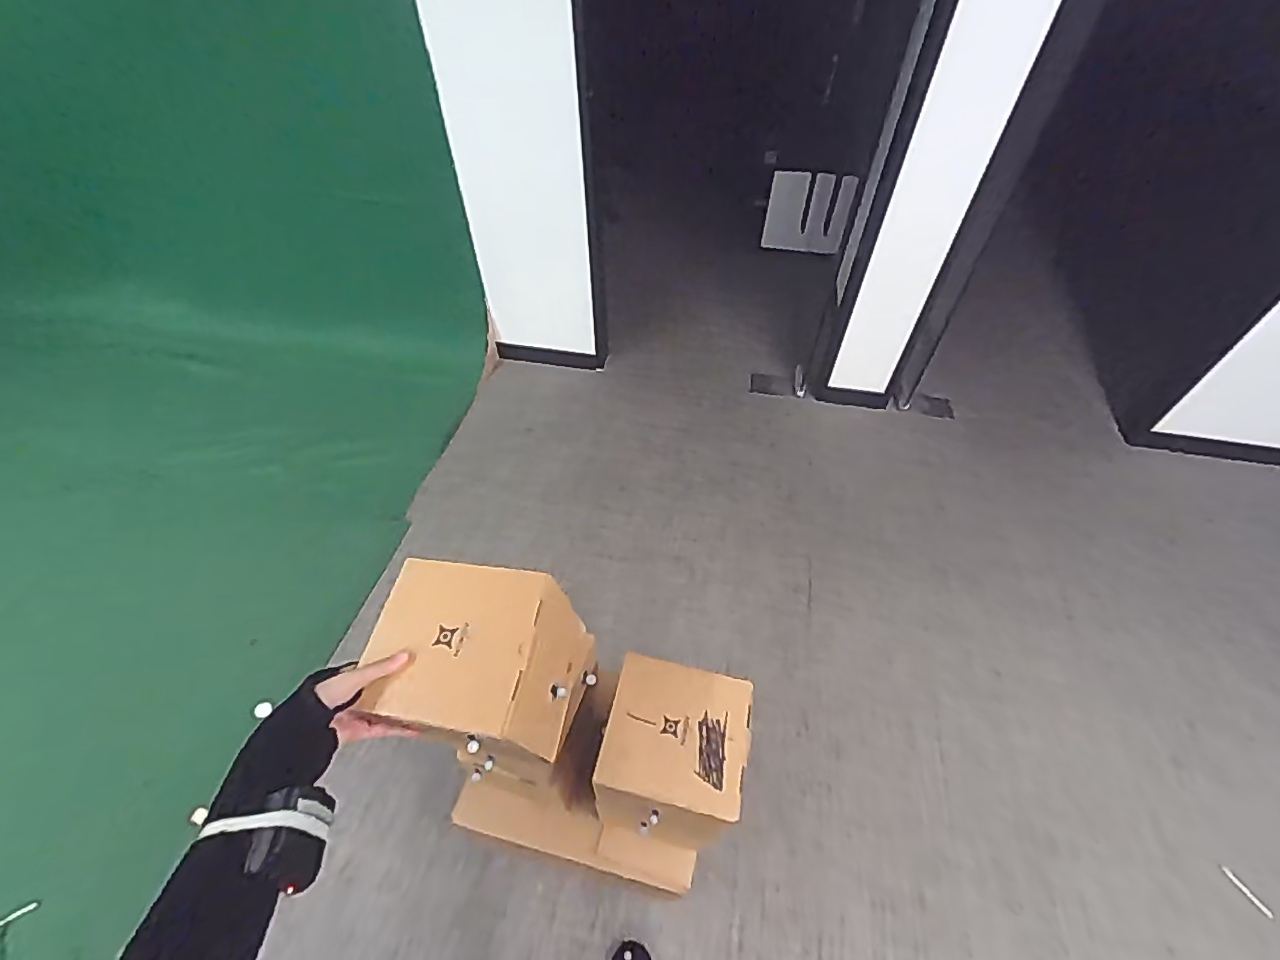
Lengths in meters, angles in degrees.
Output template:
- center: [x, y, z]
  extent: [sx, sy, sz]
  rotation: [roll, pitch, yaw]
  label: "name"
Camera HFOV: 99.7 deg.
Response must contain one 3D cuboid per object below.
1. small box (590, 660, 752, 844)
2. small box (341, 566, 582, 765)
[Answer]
- center: [0.044, 0.373, 0.734]
  extent: [0.179, 0.176, 0.168]
  rotation: [10, 50, 10]
  label: "small box"
- center: [-0.183, 0.213, 0.615]
  extent: [0.179, 0.176, 0.168]
  rotation: [2, 55, 13]
  label: "small box"
